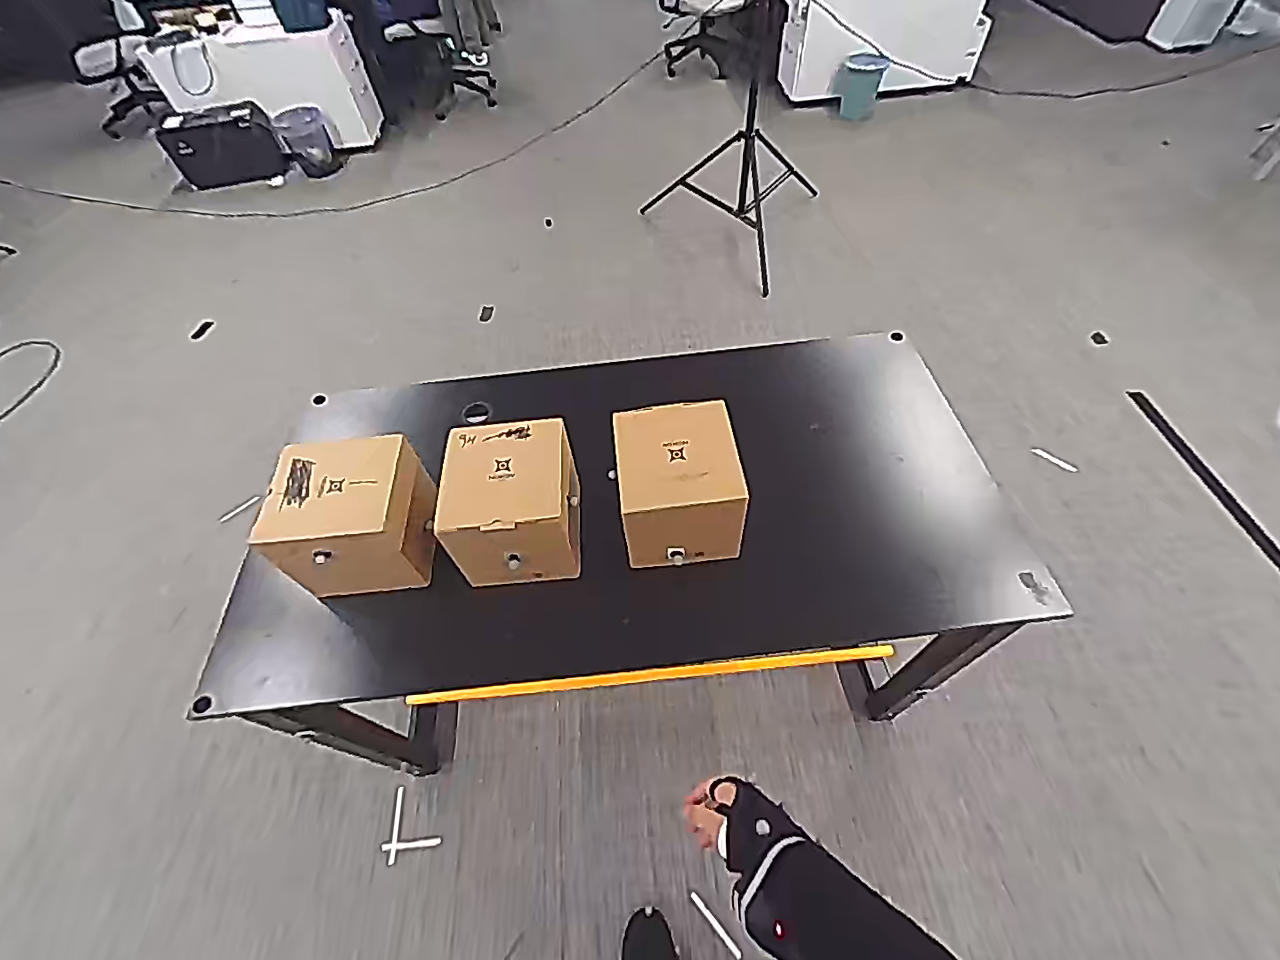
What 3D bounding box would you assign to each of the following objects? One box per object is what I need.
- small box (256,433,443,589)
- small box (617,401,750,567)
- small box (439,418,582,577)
[{"bbox_3d":[-0.411,0.052,0.805,0.179,0.176,0.168,-6,55,-1],"label":"small box"},{"bbox_3d":[0.058,0.009,0.806,0.168,0.176,0.179,-8,55,0],"label":"small box"},{"bbox_3d":[-0.178,0.034,0.803,0.168,0.176,0.179,-5,55,0],"label":"small box"}]
